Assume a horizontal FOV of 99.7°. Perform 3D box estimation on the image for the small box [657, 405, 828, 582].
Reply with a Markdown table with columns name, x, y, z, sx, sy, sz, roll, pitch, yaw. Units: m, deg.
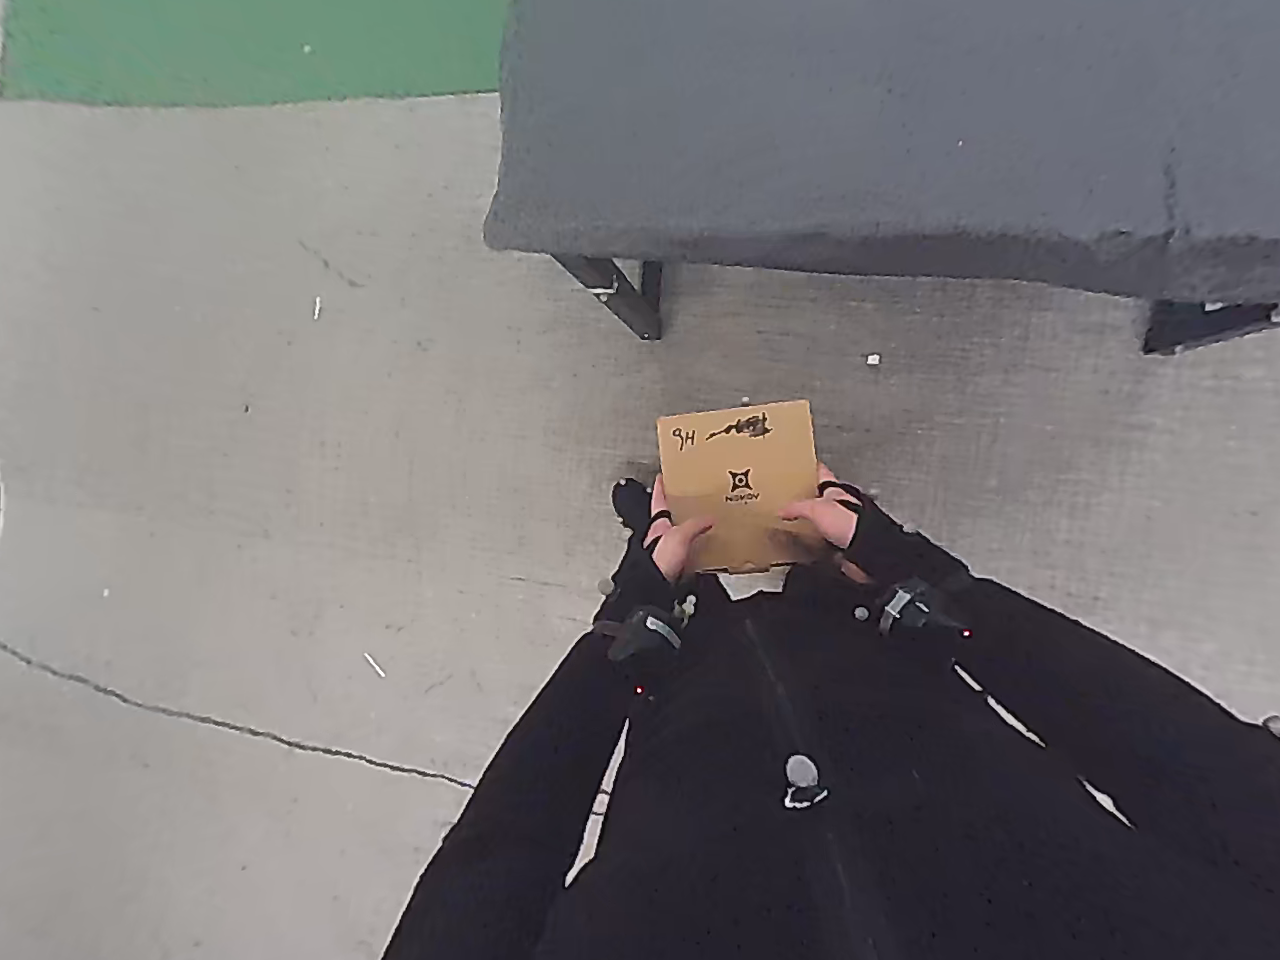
| name | x | y | z | sx | sy | sz | roll | pitch | yaw |
| --- | --- | --- | --- | --- | --- | --- | --- | --- | --- |
| small box | 0.116 | 0.013 | 0.649 | 0.168 | 0.176 | 0.179 | -7 | 90 | 6 |
